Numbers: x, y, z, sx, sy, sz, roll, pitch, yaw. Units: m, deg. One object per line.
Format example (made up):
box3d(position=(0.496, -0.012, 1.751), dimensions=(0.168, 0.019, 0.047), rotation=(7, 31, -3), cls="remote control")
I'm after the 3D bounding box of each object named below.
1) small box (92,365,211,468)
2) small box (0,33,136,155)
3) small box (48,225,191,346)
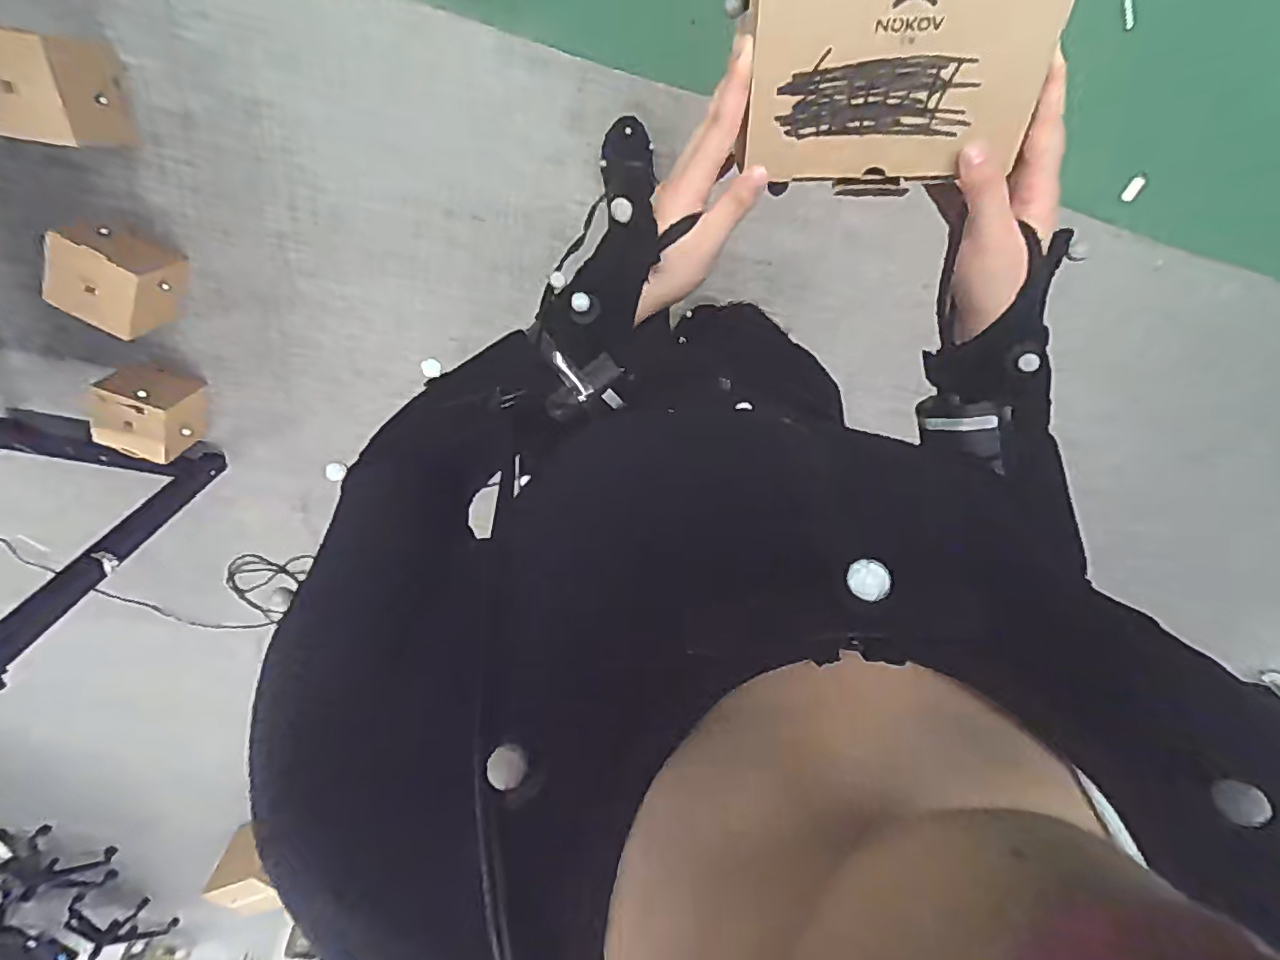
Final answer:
box3d(position=(-1.256, -0.167, 1.404), dimensions=(0.168, 0.176, 0.179), rotation=(21, 122, -15), cls="small box")
box3d(position=(-1.112, -0.726, 1.018), dimensions=(0.179, 0.176, 0.168), rotation=(7, 123, -6), cls="small box")
box3d(position=(-1.160, -0.442, 1.215), dimensions=(0.168, 0.176, 0.179), rotation=(29, 121, -18), cls="small box")
